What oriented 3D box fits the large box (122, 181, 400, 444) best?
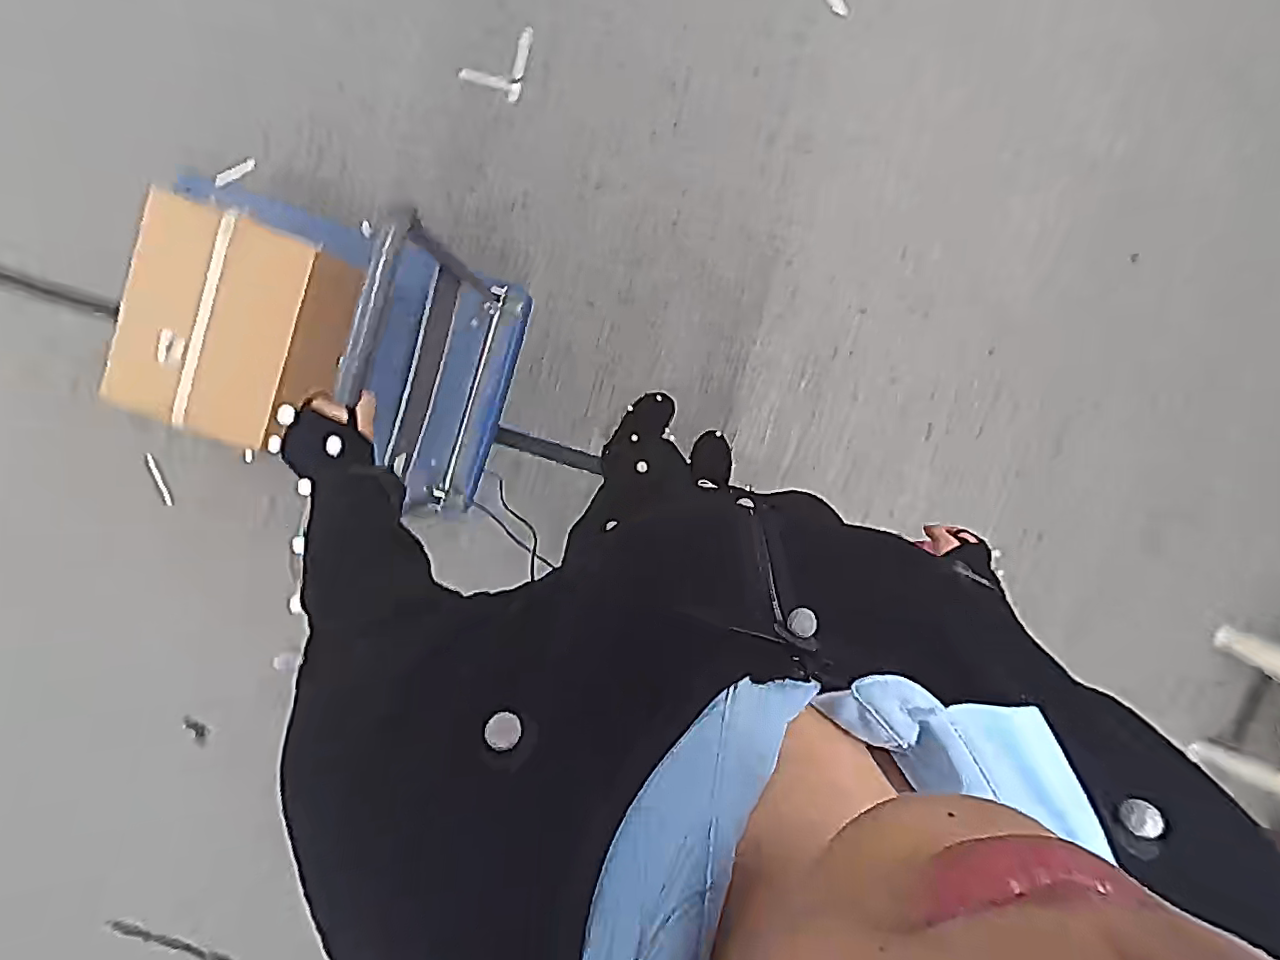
[{"bbox_3d":[-0.769,-0.326,1.147,0.320,0.320,0.408,21,98,-1],"label":"large box"}]
